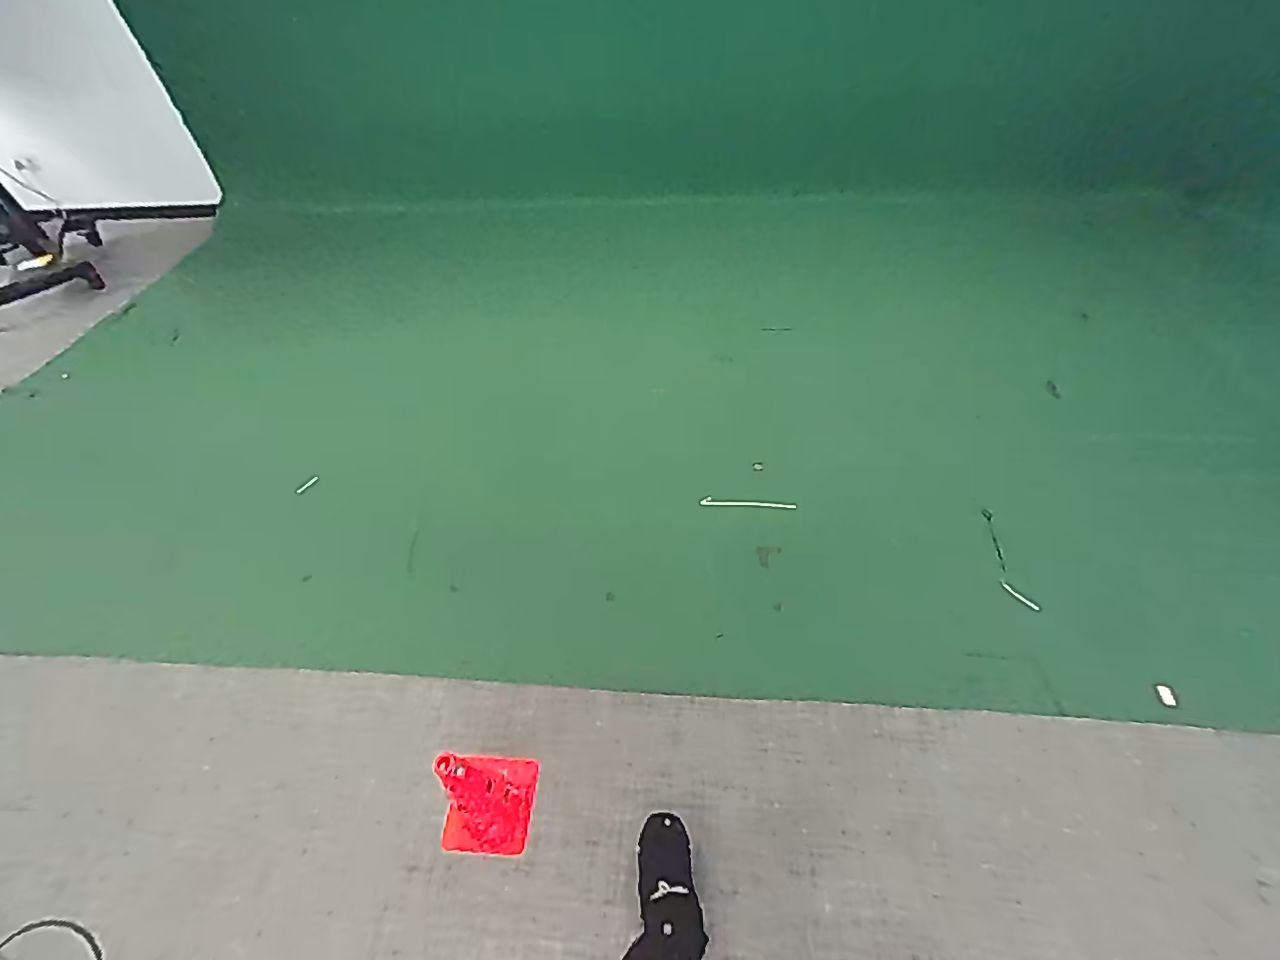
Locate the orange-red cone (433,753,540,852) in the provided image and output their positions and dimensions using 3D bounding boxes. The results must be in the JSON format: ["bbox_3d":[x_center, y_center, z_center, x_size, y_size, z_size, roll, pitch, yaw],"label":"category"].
[{"bbox_3d":[-0.361,0.655,1.161,0.198,0.360,0.199,1,50,6],"label":"orange-red cone"}]
